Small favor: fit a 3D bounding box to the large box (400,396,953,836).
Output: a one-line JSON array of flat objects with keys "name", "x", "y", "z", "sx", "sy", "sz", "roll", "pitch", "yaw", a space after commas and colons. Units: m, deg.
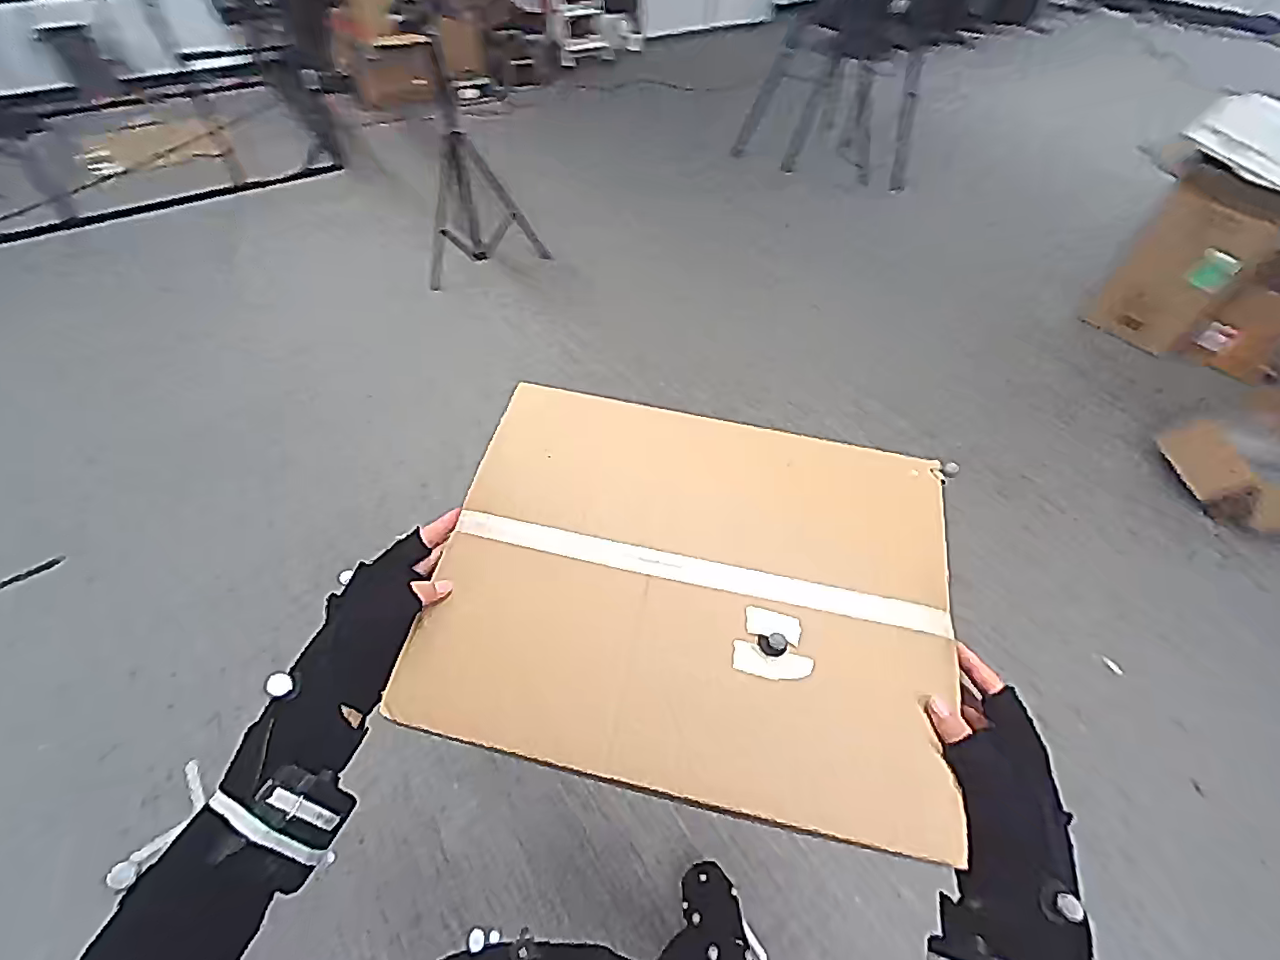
[{"name": "large box", "x": 0.039, "y": 0.152, "z": 0.579, "sx": 0.408, "sy": 0.320, "sz": 0.320, "roll": 11, "pitch": 61, "yaw": 4}]
